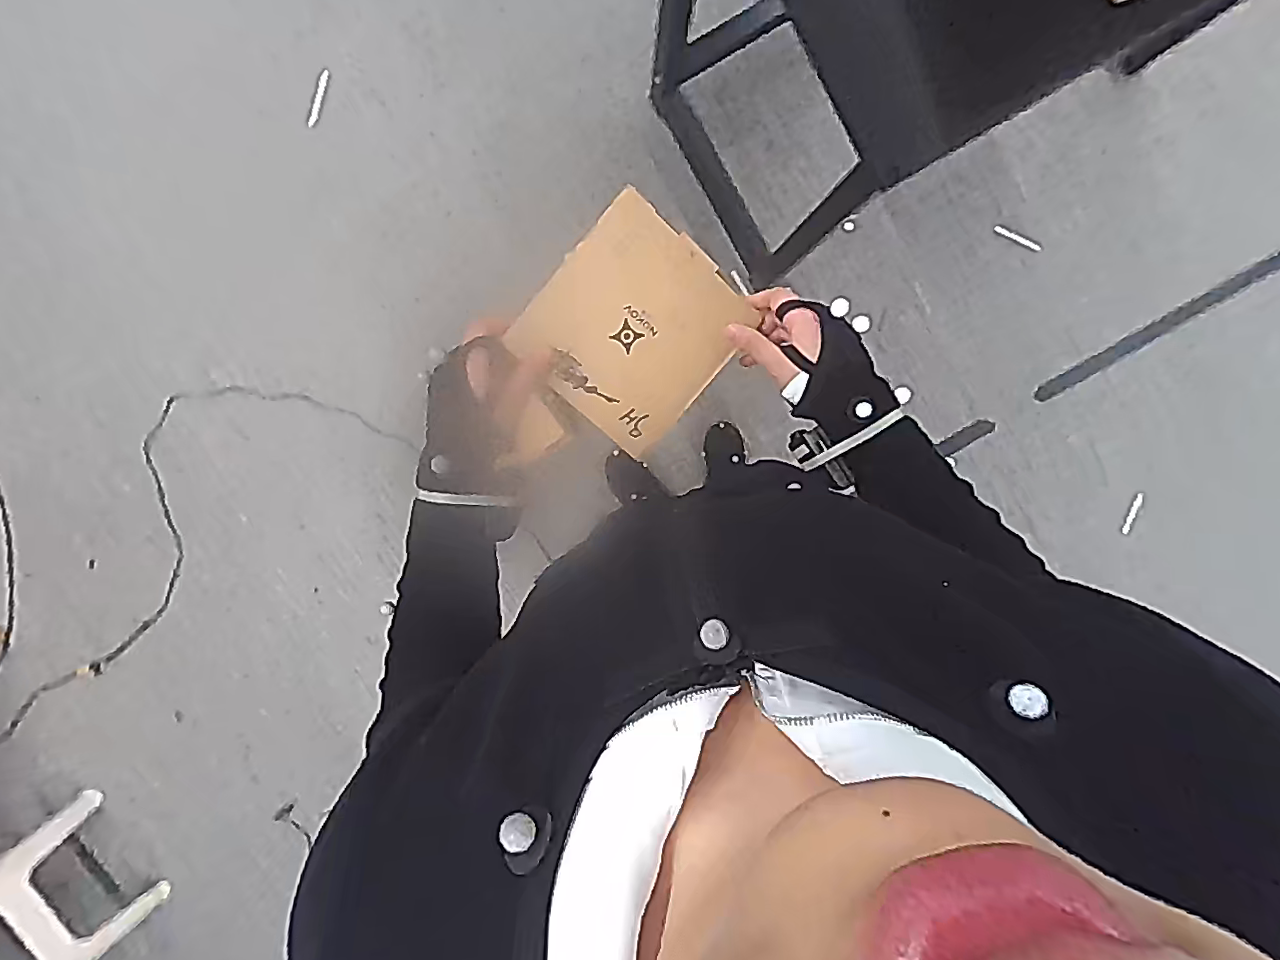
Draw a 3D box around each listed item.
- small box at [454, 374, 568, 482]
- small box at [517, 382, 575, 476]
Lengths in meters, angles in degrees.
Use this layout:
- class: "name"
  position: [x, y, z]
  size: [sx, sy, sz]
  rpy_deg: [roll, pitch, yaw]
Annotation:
- class: "small box"
  position: [-0.280, -0.118, 1.225]
  size: [0.168, 0.176, 0.179]
  rpy_deg: [-38, 95, 1]
- class: "small box"
  position: [-0.282, -0.130, 1.387]
  size: [0.168, 0.176, 0.179]
  rpy_deg: [-34, 97, 1]
